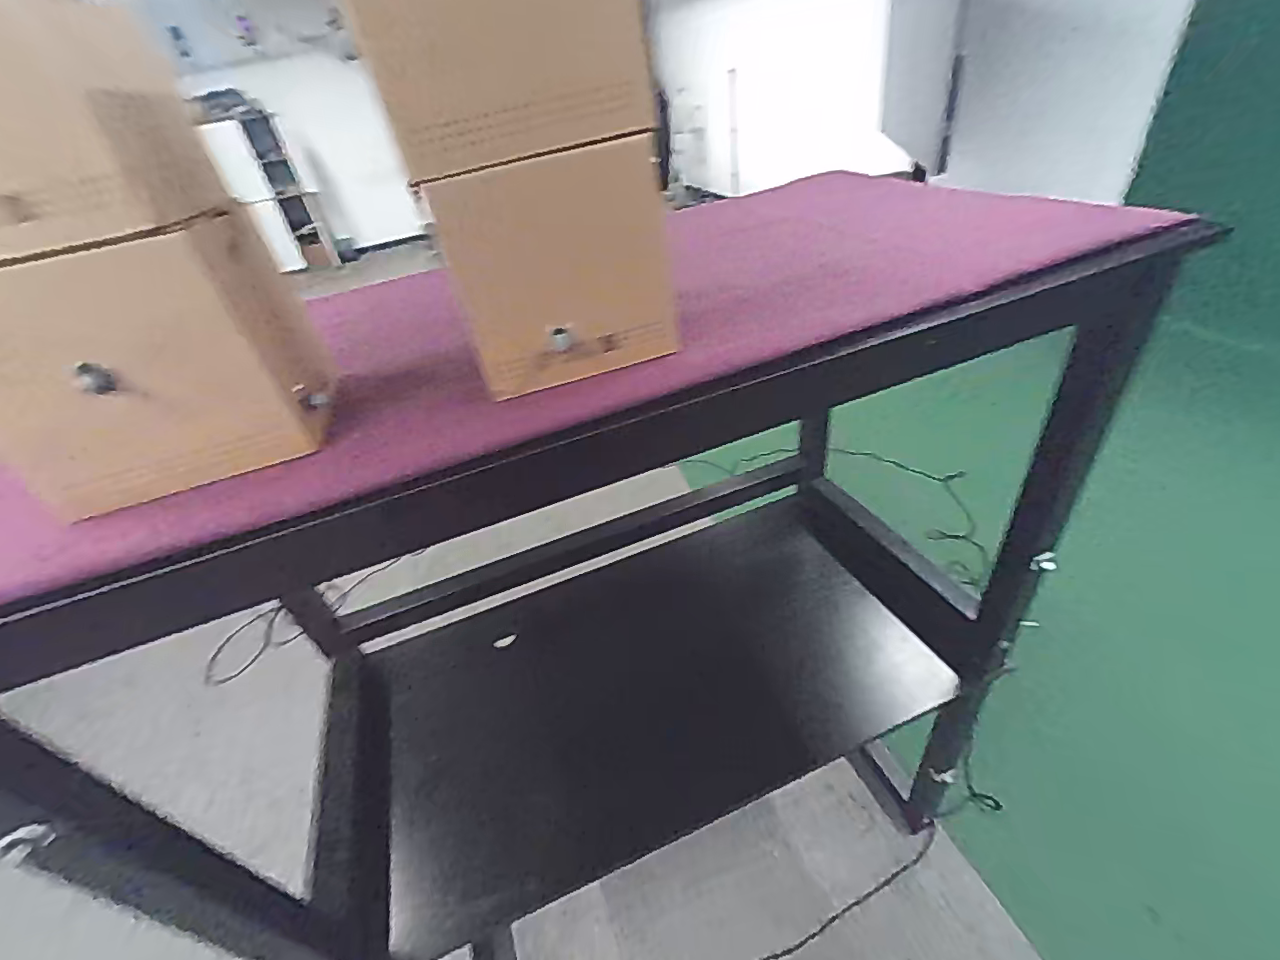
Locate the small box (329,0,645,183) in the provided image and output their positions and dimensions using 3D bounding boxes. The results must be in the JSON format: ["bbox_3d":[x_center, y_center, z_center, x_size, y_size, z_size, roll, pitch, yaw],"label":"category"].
[{"bbox_3d":[-0.113,-0.320,0.378,0.179,0.176,0.168,-19,37,-9],"label":"small box"}]

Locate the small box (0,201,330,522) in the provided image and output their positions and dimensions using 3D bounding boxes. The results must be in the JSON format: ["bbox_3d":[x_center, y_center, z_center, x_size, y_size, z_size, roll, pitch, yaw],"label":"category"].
[{"bbox_3d":[-0.372,-0.097,0.420,0.179,0.176,0.168,-20,37,-11],"label":"small box"}]

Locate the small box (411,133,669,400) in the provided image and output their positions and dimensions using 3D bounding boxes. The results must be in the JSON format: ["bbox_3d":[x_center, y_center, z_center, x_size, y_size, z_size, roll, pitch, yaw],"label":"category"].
[{"bbox_3d":[-0.085,-0.193,0.479,0.168,0.176,0.179,-19,37,-9],"label":"small box"}]

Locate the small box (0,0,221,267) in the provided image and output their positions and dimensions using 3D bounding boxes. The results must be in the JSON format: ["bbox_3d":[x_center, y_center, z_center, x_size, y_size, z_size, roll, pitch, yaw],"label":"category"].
[{"bbox_3d":[-0.404,-0.230,0.331,0.168,0.176,0.179,-19,37,-11],"label":"small box"}]
